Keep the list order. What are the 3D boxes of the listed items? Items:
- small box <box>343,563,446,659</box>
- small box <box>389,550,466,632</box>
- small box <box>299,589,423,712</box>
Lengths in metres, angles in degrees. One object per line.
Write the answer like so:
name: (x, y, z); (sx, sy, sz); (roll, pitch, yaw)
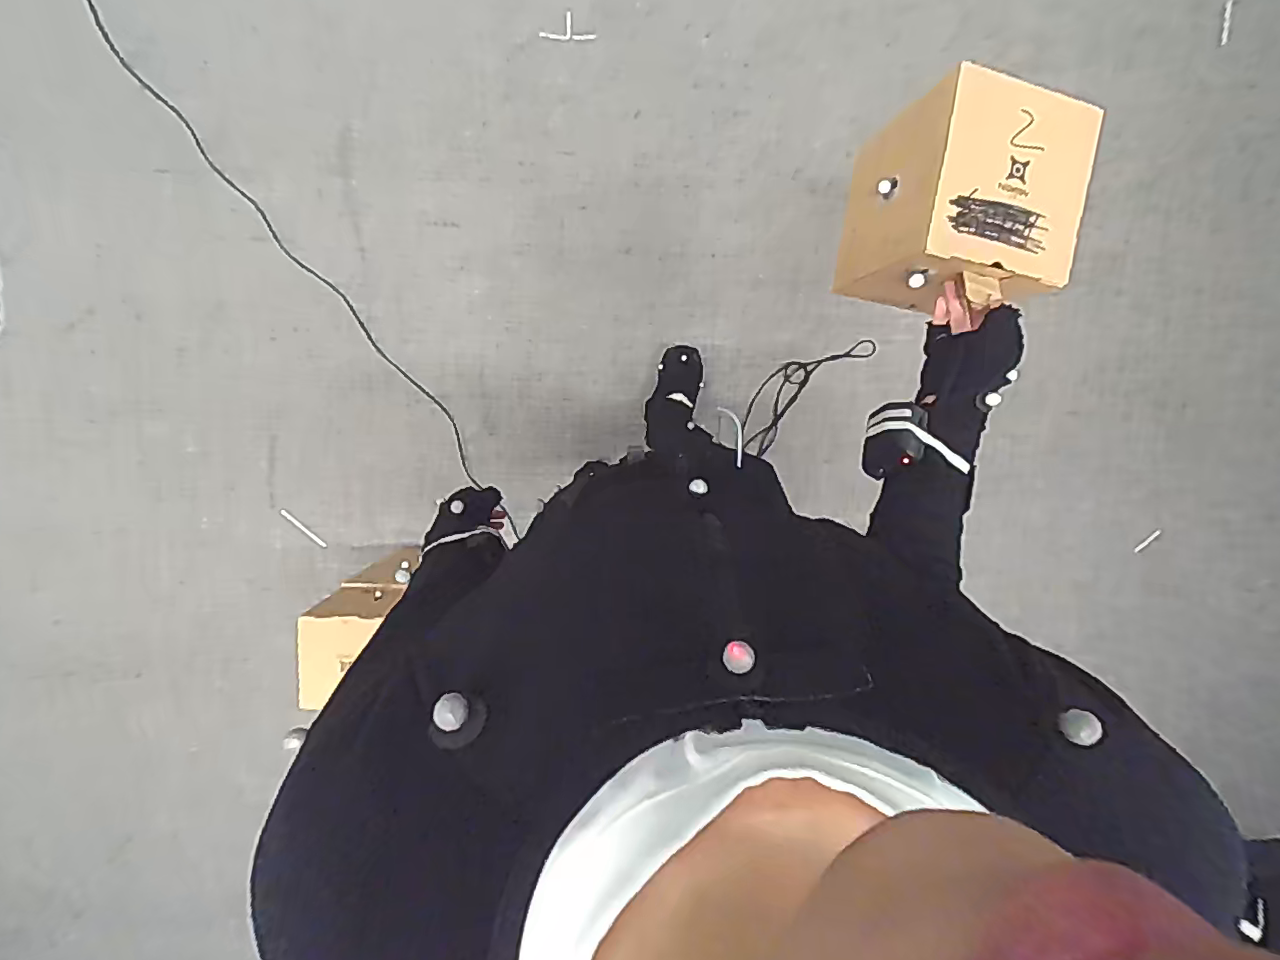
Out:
small box: (-0.541, 0.295, 1.207); (0.168, 0.176, 0.179); (2, 96, -4)
small box: (-0.546, 0.276, 1.371); (0.179, 0.176, 0.168); (1, 97, -5)
small box: (-0.529, 0.323, 1.047); (0.168, 0.176, 0.179); (2, 96, -4)
